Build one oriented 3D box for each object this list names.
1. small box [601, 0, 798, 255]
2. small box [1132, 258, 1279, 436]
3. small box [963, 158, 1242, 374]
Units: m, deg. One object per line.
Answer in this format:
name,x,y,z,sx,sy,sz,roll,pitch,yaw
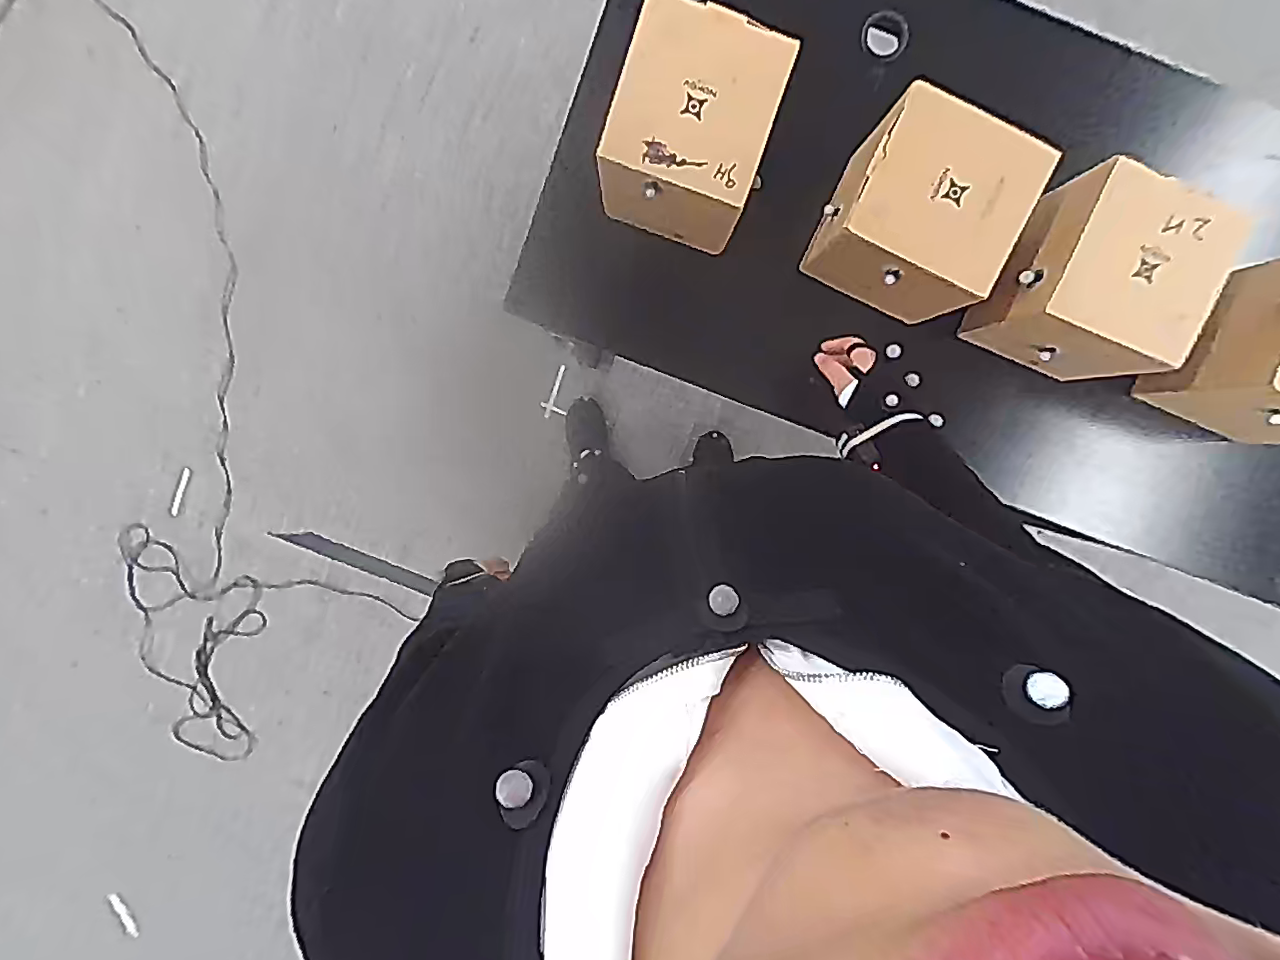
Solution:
small box,0.062,-0.404,0.648,0.168,0.176,0.179,20,95,-1
small box,0.787,-0.157,0.672,0.179,0.176,0.168,23,95,-3
small box,0.540,-0.242,0.665,0.168,0.176,0.179,22,95,-2
